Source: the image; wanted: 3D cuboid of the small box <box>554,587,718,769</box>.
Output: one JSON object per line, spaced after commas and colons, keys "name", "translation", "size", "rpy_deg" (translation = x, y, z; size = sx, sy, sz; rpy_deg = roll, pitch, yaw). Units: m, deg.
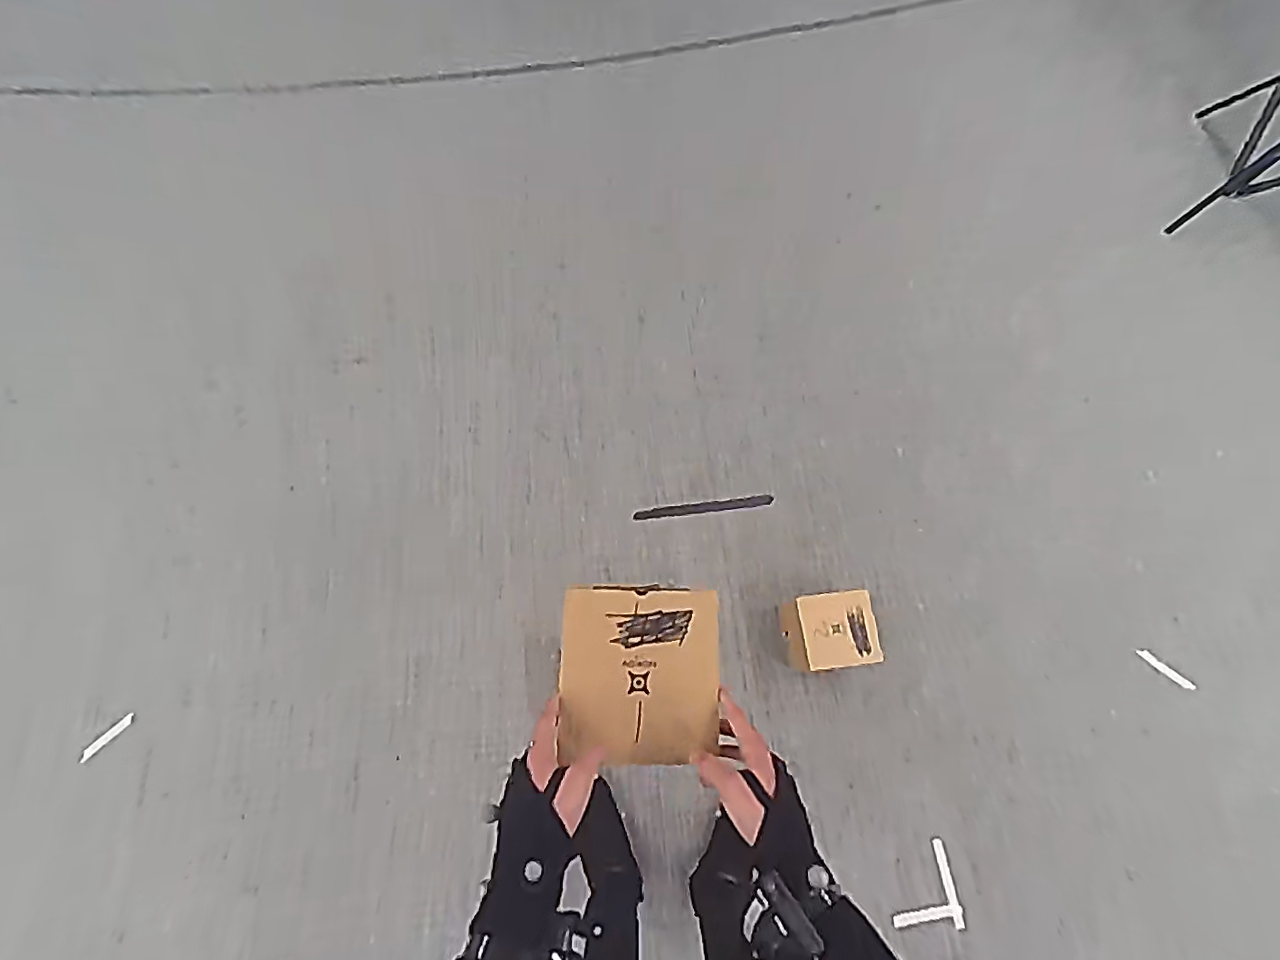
{"name": "small box", "translation": [-0.008, 0.216, 0.629], "size": [0.168, 0.176, 0.179], "rpy_deg": [2, 79, -4]}
